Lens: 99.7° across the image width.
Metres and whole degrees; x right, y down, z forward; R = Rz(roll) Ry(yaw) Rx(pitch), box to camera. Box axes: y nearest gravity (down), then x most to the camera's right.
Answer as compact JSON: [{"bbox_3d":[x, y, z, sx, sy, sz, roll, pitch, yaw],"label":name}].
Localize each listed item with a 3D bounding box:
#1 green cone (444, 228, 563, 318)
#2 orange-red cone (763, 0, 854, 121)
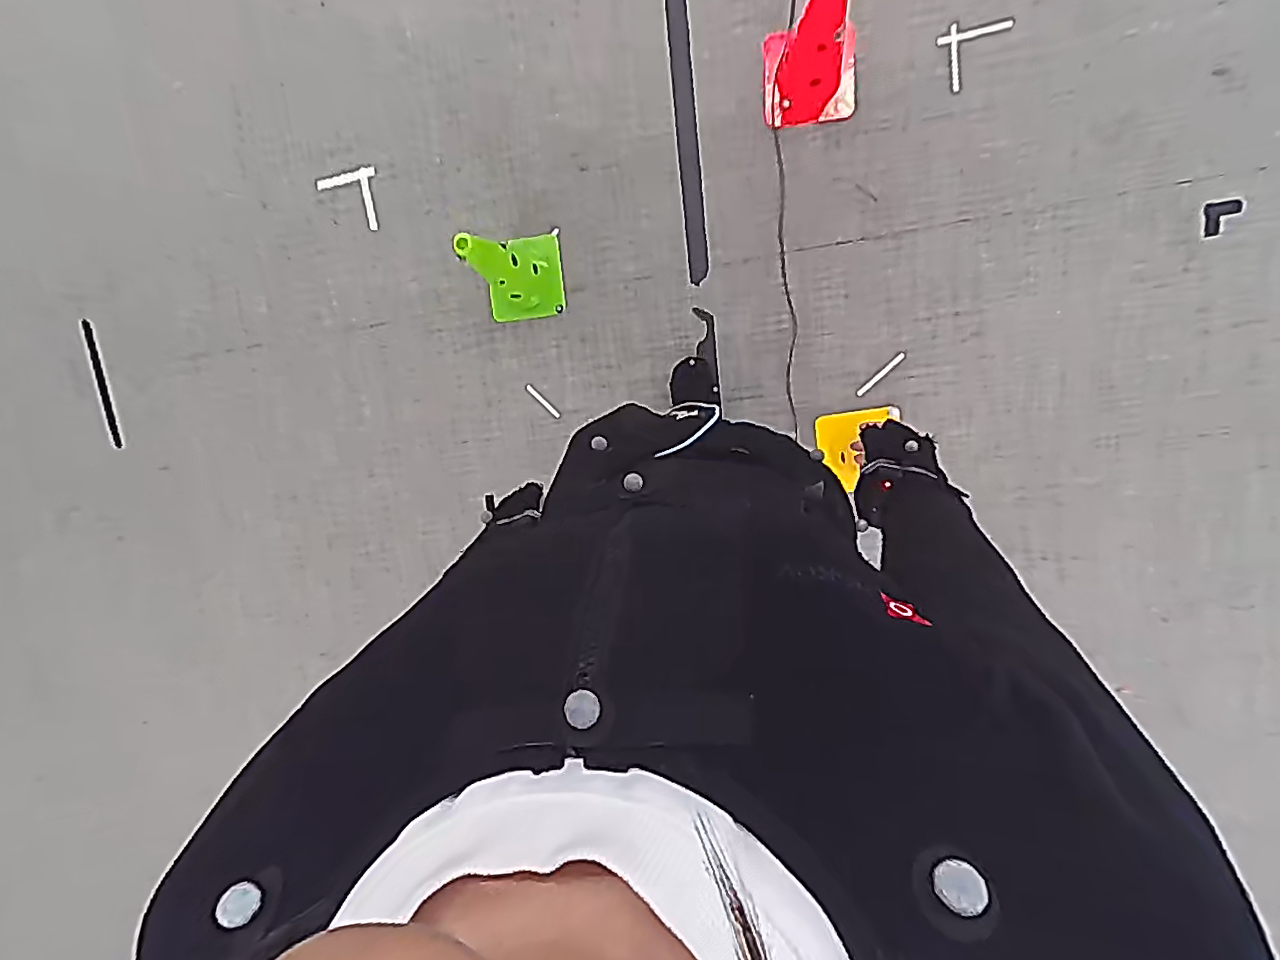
[{"bbox_3d":[-0.331,-0.505,1.230,0.202,0.368,0.200,-5,98,11],"label":"green cone"},{"bbox_3d":[0.360,-0.903,1.067,0.199,0.360,0.198,-1,100,8],"label":"orange-red cone"}]
